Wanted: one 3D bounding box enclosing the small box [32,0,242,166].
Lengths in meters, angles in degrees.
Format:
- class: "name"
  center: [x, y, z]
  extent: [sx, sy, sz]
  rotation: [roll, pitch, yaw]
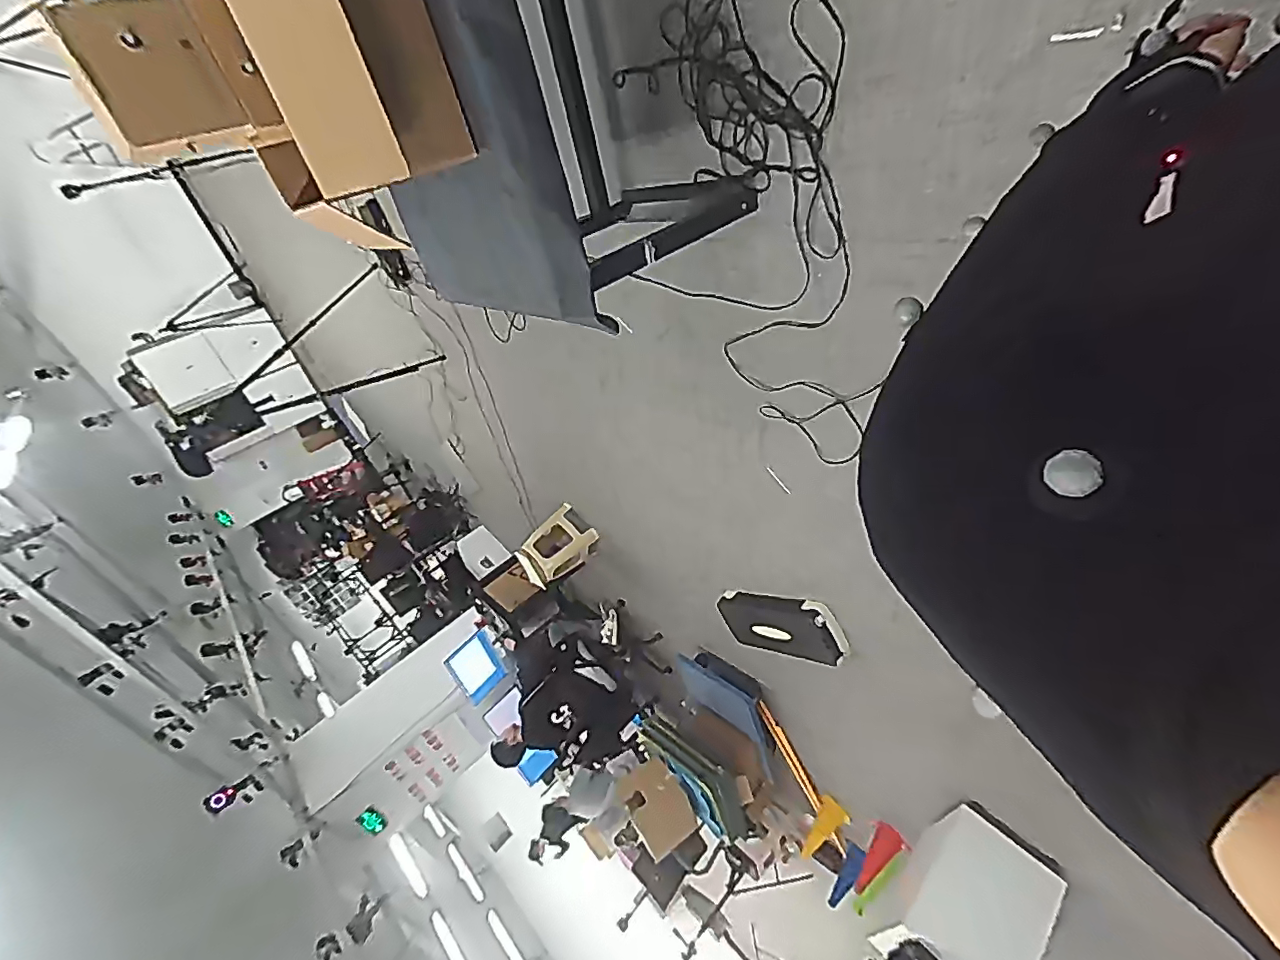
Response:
- class: "small box"
  center: [-0.753, -0.607, 0.829]
  extent: [0.179, 0.176, 0.168]
  rotation: [20, 136, 46]
